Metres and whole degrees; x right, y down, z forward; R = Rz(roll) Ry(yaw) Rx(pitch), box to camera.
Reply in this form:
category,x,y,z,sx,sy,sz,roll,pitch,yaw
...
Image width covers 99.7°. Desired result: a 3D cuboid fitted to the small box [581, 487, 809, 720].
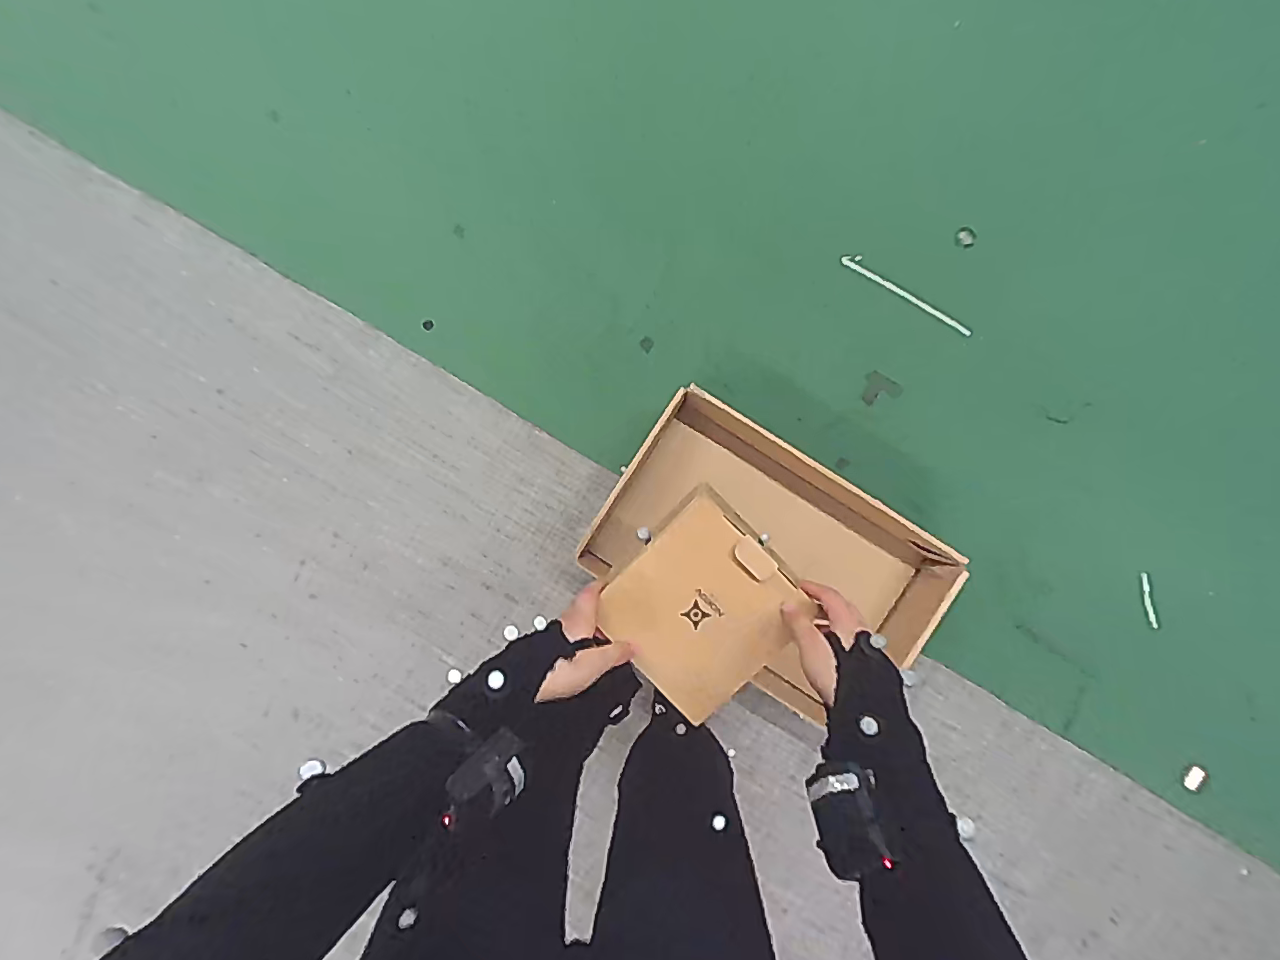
category,x,y,z,sx,sy,sz,roll,pitch,yaw
small box,0.063,0.126,0.625,0.168,0.176,0.179,45,97,2
